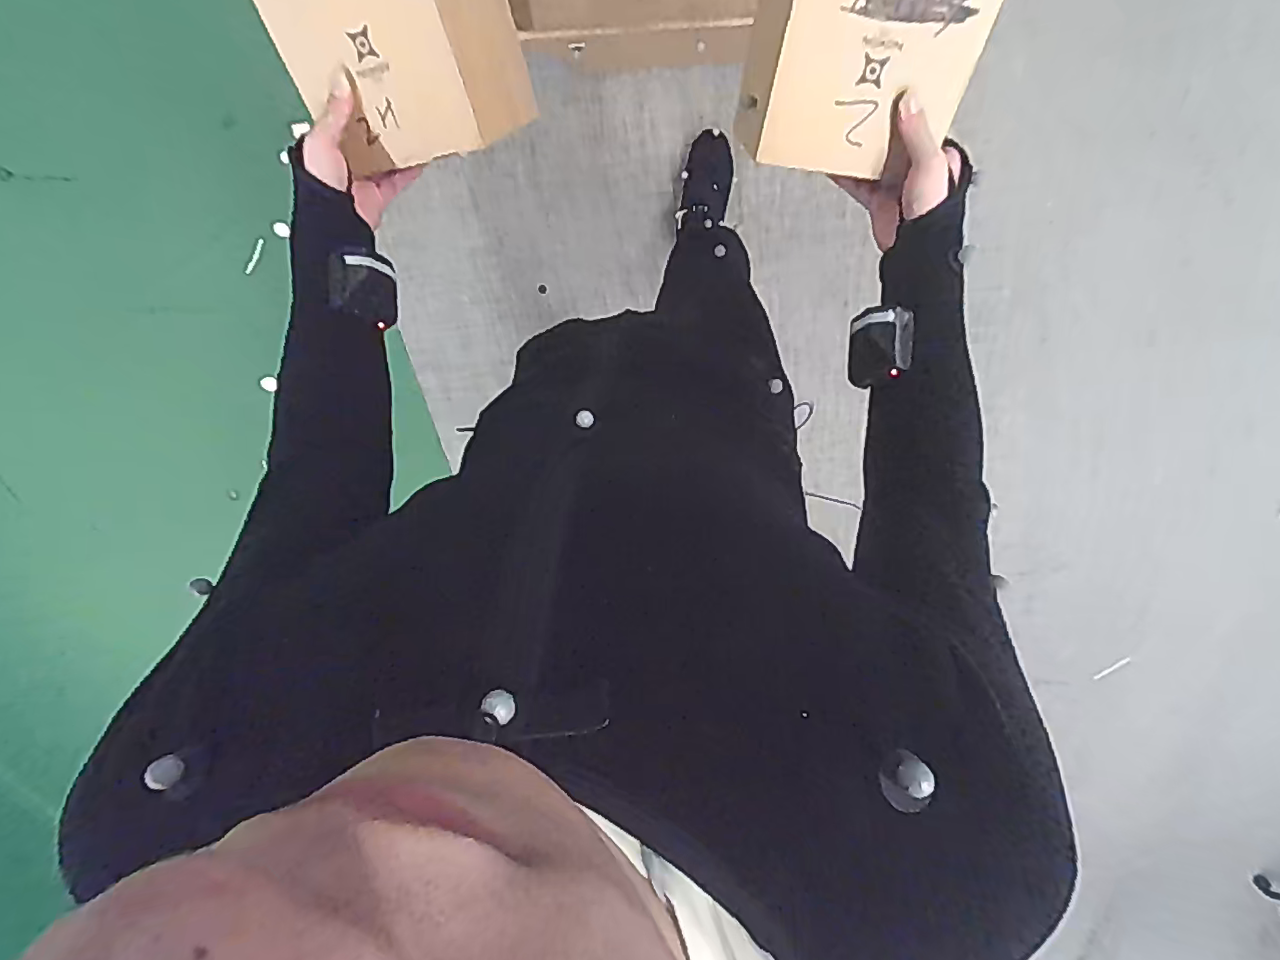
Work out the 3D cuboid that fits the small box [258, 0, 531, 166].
[{"bbox_3d":[-0.229,-0.437,0.532,0.168,0.176,0.179,-3,131,15],"label":"small box"}]
